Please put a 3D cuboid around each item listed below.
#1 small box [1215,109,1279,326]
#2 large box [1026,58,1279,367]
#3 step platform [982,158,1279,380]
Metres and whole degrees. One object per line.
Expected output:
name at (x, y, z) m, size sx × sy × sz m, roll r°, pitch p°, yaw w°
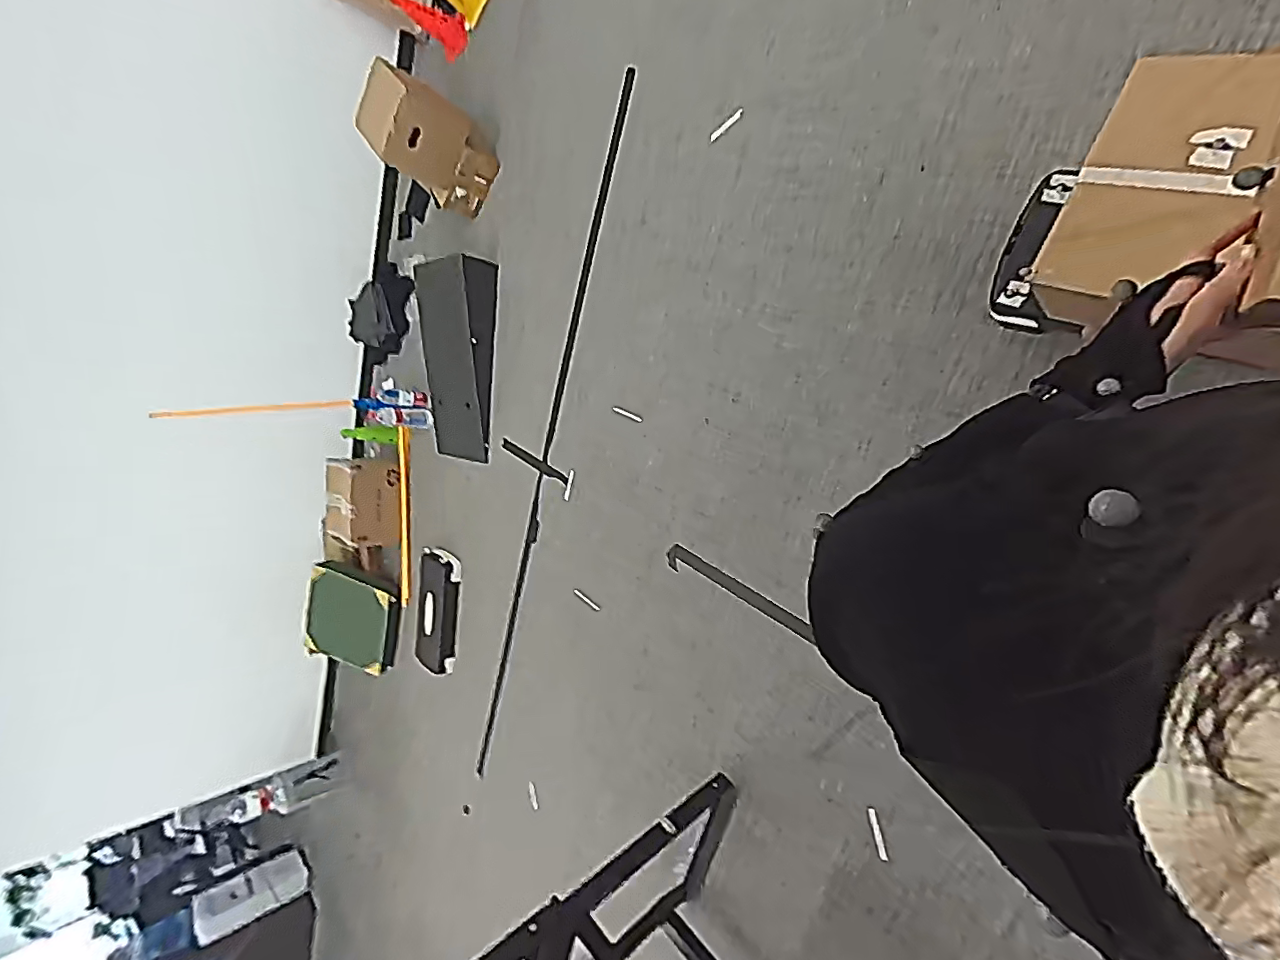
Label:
small box at (0.473, -0.174, 0.295) m, size 0.179 × 0.176 × 0.168 m, roll 15°, pitch 106°, yaw 37°
large box at (0.883, -0.364, 0.788) m, size 0.408 × 0.320 × 0.320 m, roll 33°, pitch 112°, yaw 37°
step platform at (1.026, -0.370, 0.980) m, size 0.684 × 0.204 × 0.286 m, roll 36°, pitch 115°, yaw 36°
